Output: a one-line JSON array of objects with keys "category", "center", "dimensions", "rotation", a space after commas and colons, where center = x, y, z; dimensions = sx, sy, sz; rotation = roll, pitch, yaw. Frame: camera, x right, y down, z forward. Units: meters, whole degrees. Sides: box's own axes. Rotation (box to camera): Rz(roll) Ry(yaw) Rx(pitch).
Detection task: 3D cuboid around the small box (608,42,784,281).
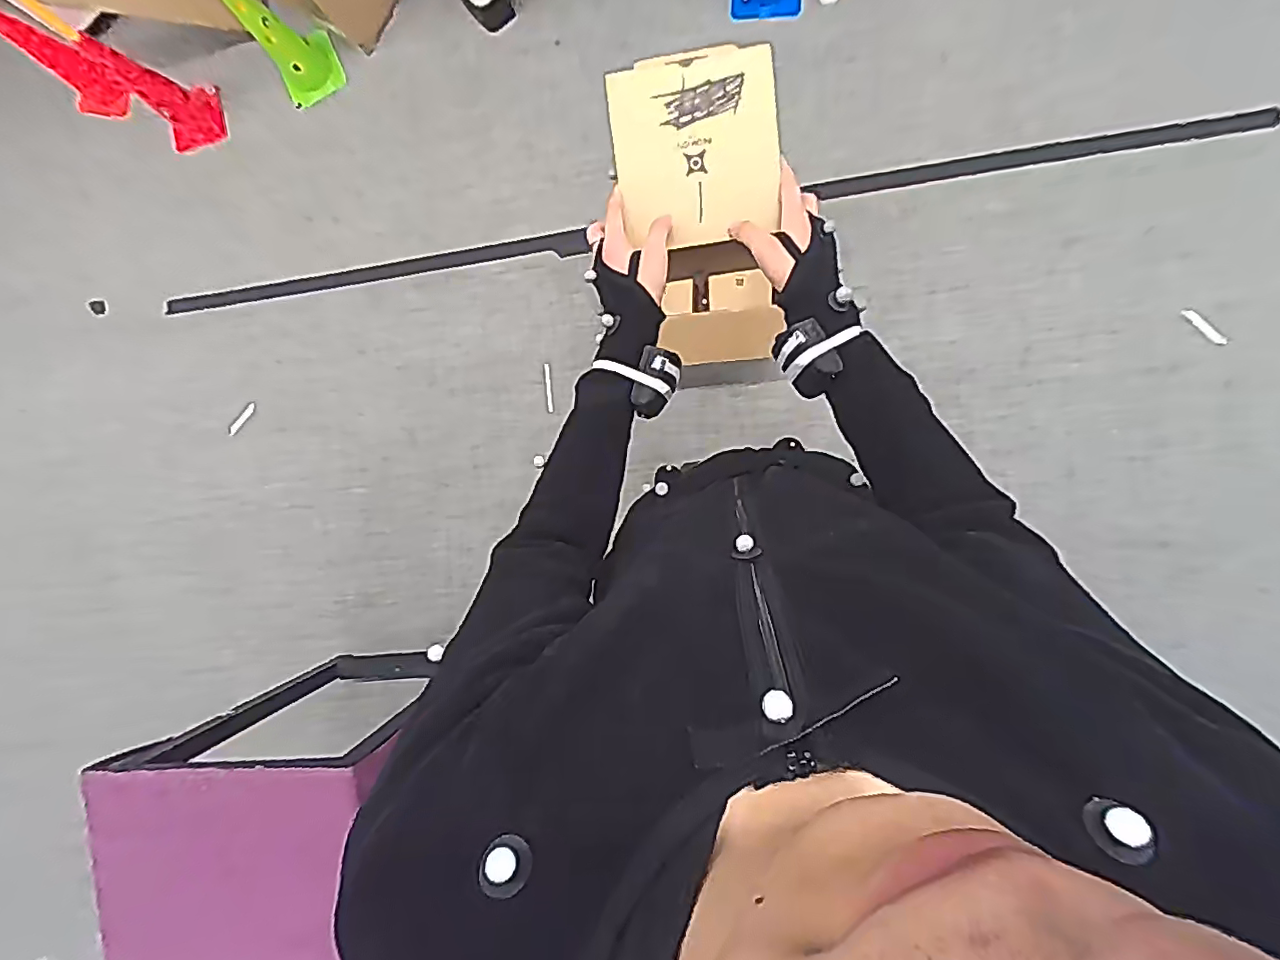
[{"category": "small box", "center": [0.063, -0.345, 0.623], "dimensions": [0.168, 0.176, 0.179], "rotation": [-7, 99, 6]}]
